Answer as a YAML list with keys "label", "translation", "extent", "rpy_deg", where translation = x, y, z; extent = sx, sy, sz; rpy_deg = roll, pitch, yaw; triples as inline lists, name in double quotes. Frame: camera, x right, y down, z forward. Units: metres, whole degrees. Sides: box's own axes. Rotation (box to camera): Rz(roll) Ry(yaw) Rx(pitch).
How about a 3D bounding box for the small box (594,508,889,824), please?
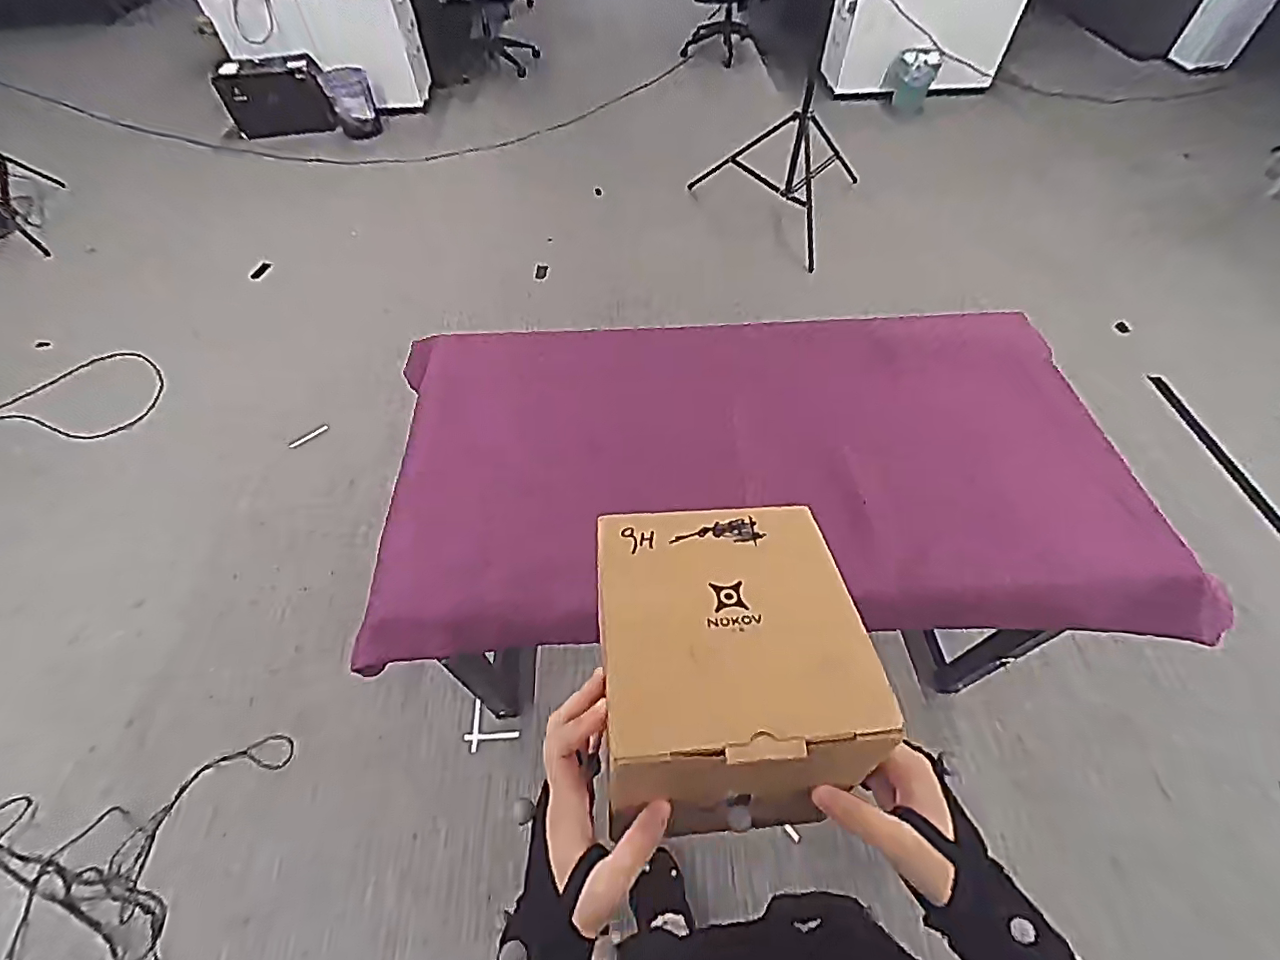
- label: "small box"
  translation: [0.051, 0.143, 0.411]
  extent: [0.168, 0.176, 0.179]
  rpy_deg: [-2, 45, -6]
